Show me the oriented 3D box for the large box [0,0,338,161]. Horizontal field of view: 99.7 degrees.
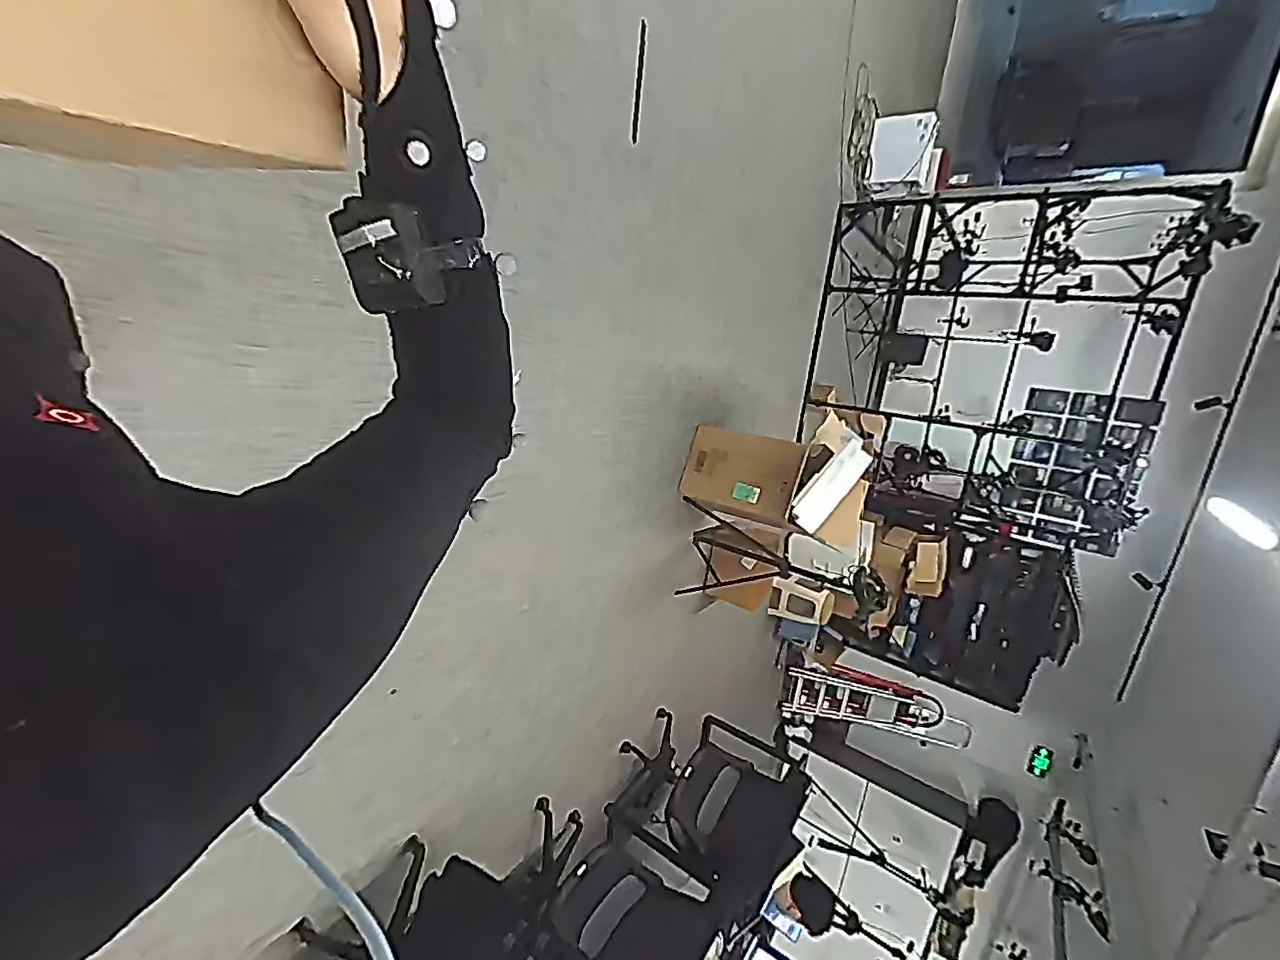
[{"bbox_3d":[-0.399,-0.325,0.186,0.408,0.320,0.320,-24,128,-54],"label":"large box"}]
